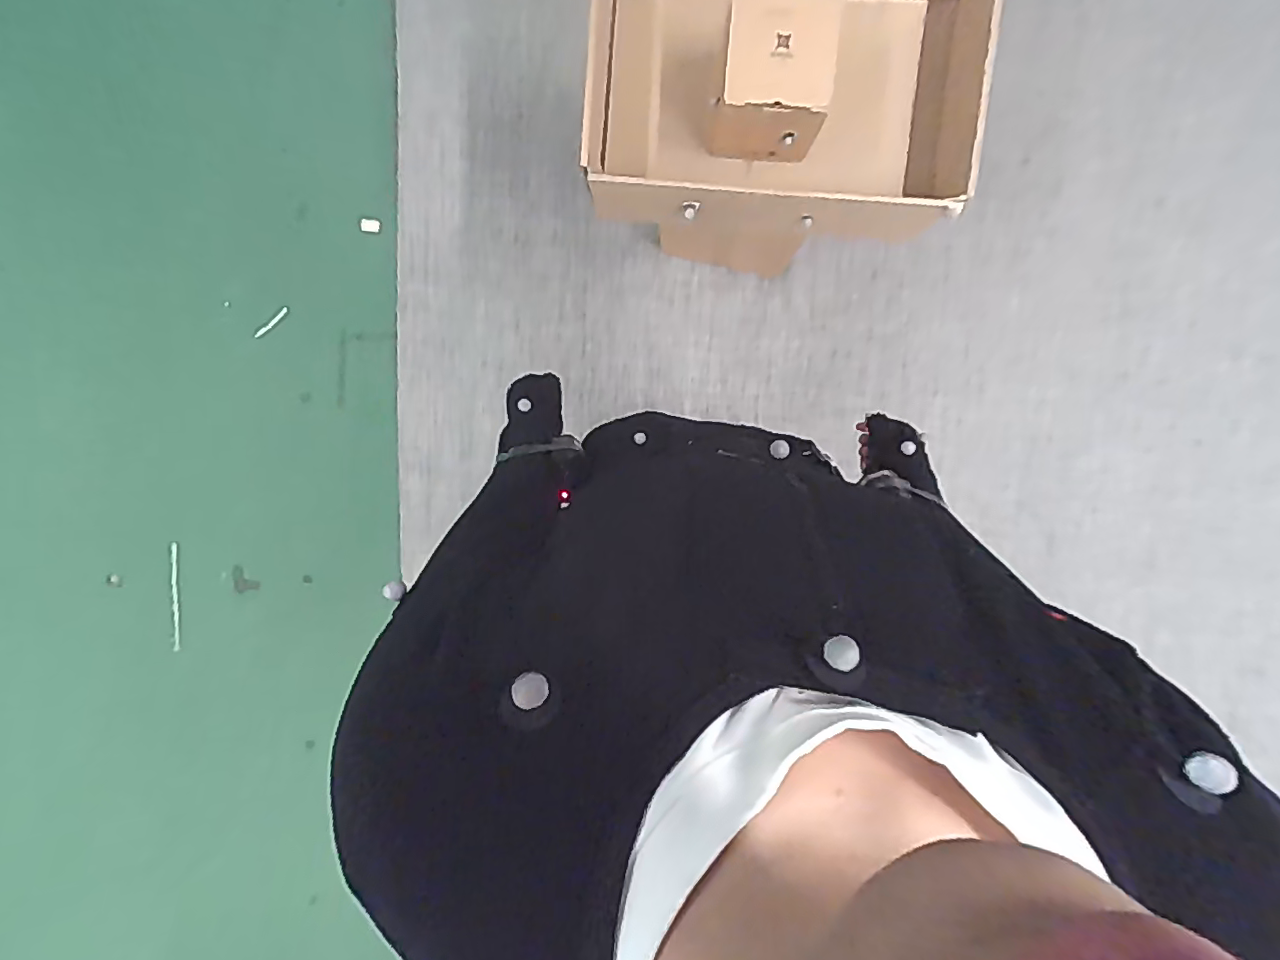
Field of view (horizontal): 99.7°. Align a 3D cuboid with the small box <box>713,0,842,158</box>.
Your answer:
[{"bbox_3d":[0.214,-0.657,0.883,0.168,0.176,0.179,4,94,0],"label":"small box"}]
